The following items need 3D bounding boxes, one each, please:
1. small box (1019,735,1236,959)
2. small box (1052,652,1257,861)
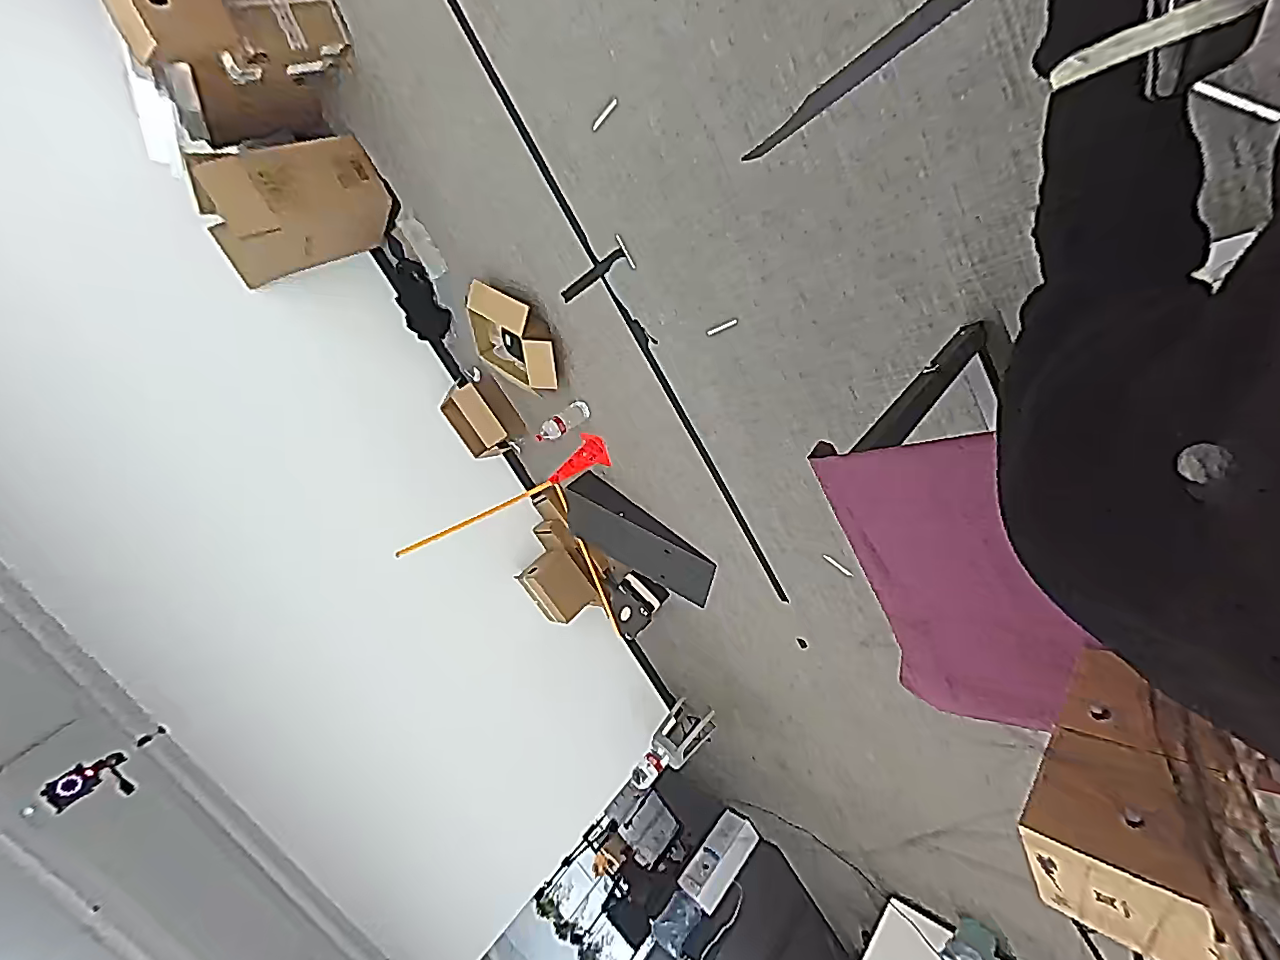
[{"bbox_3d":[0.618,0.461,0.682,0.179,0.176,0.168,-1,120,53],"label":"small box"},{"bbox_3d":[0.728,0.372,0.766,0.179,0.176,0.168,-3,120,54],"label":"small box"}]
